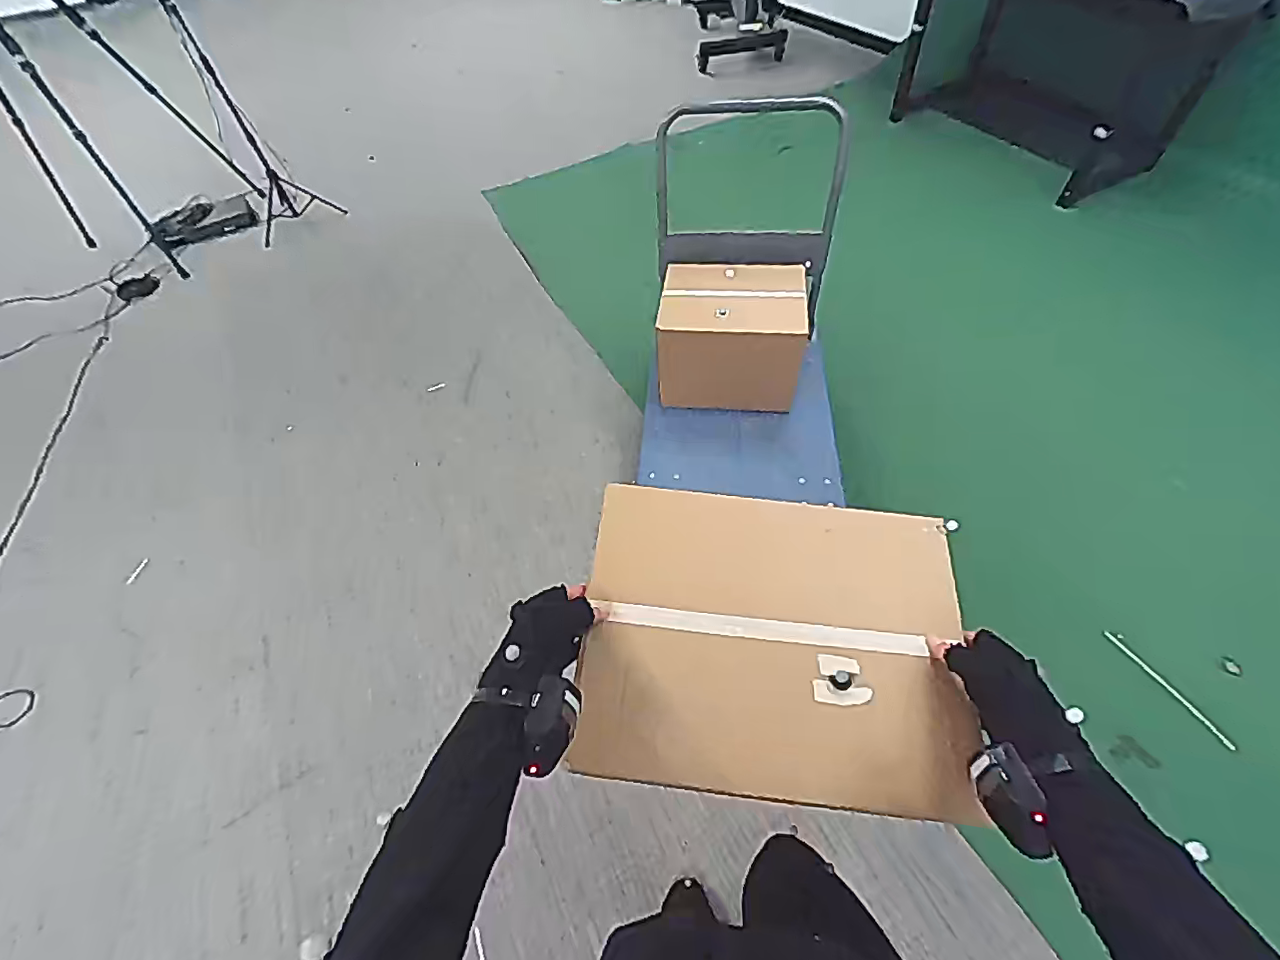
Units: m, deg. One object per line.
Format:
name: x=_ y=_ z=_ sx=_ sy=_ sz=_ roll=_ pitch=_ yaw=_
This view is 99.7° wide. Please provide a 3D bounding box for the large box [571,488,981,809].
large box: x=0.137 y=0.232 z=0.718 sx=0.408 sy=0.320 sz=0.320 roll=6 pitch=62 yaw=2
